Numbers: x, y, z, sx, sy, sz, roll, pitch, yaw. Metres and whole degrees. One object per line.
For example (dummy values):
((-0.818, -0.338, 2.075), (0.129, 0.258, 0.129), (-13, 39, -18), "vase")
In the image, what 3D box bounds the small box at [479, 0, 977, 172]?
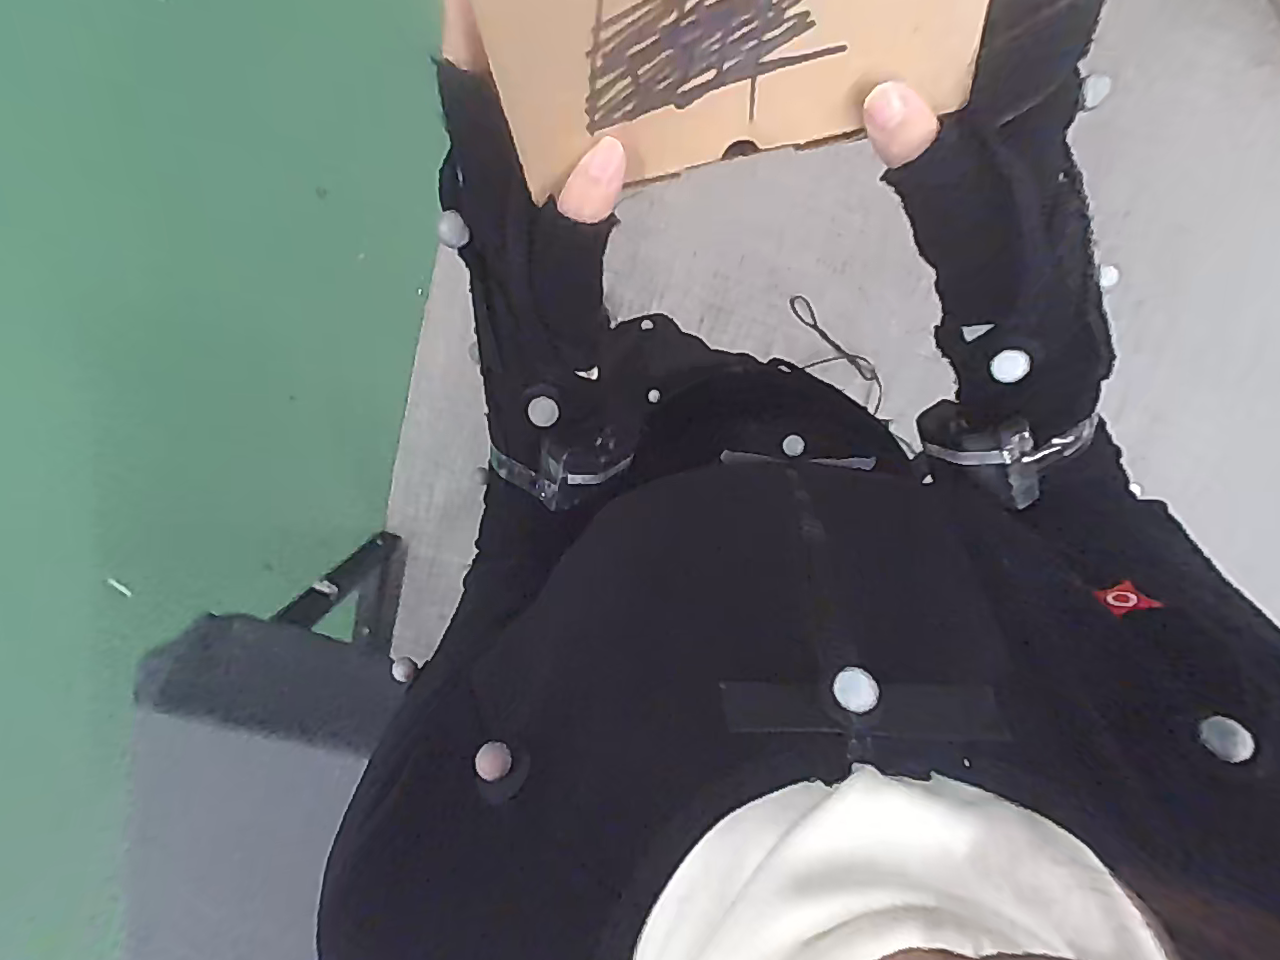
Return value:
((0.019, -0.249, 0.197), (0.168, 0.176, 0.179), (-9, 137, 6), "small box")
